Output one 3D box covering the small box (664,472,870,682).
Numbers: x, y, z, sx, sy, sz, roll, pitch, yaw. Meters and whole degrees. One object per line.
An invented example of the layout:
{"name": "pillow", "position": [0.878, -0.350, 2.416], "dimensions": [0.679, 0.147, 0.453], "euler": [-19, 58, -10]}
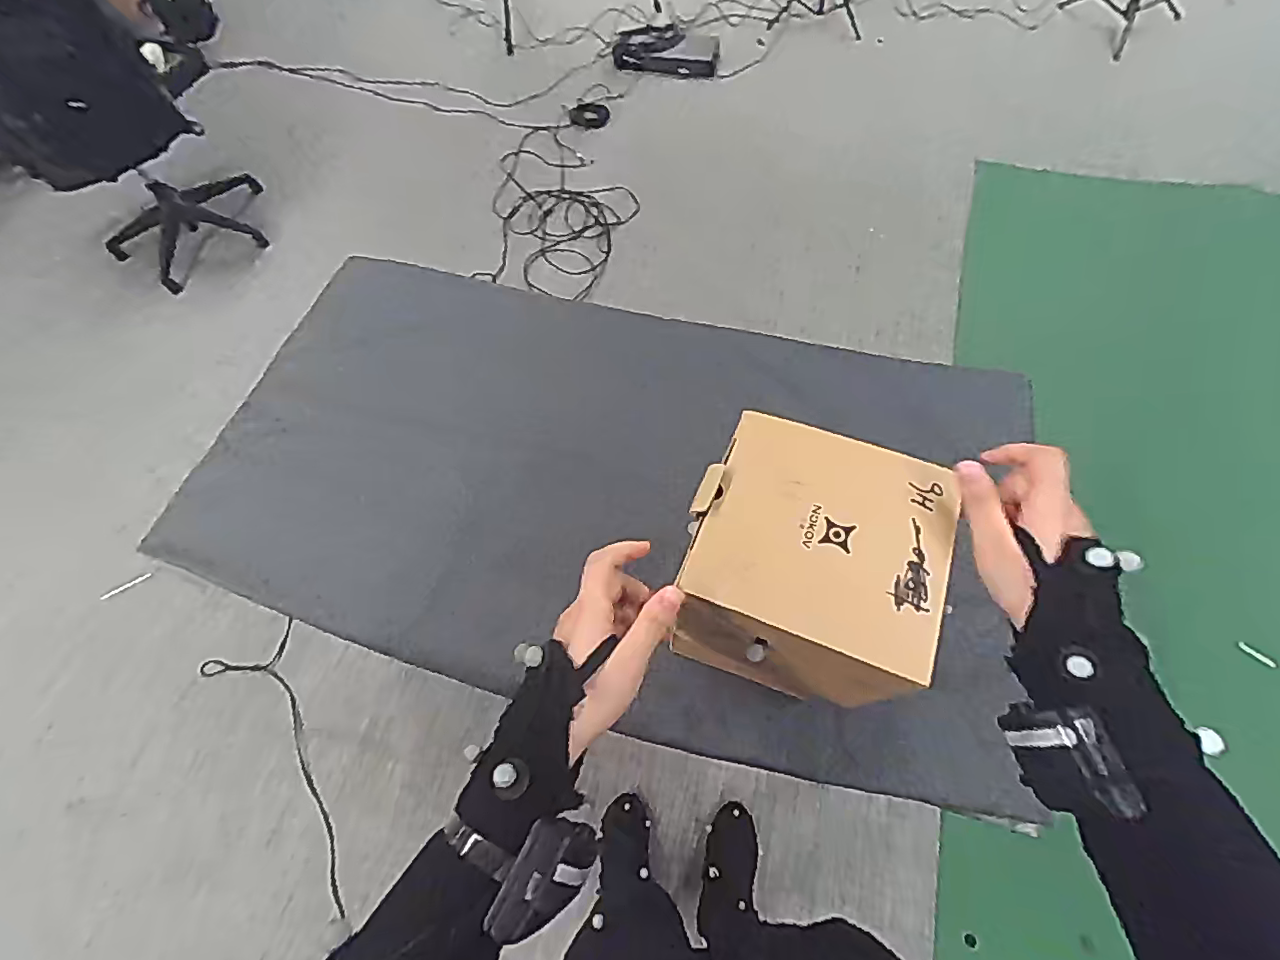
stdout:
{"name": "small box", "position": [0.135, 0.119, 0.617], "dimensions": [0.179, 0.176, 0.168], "euler": [17, 66, 11]}
